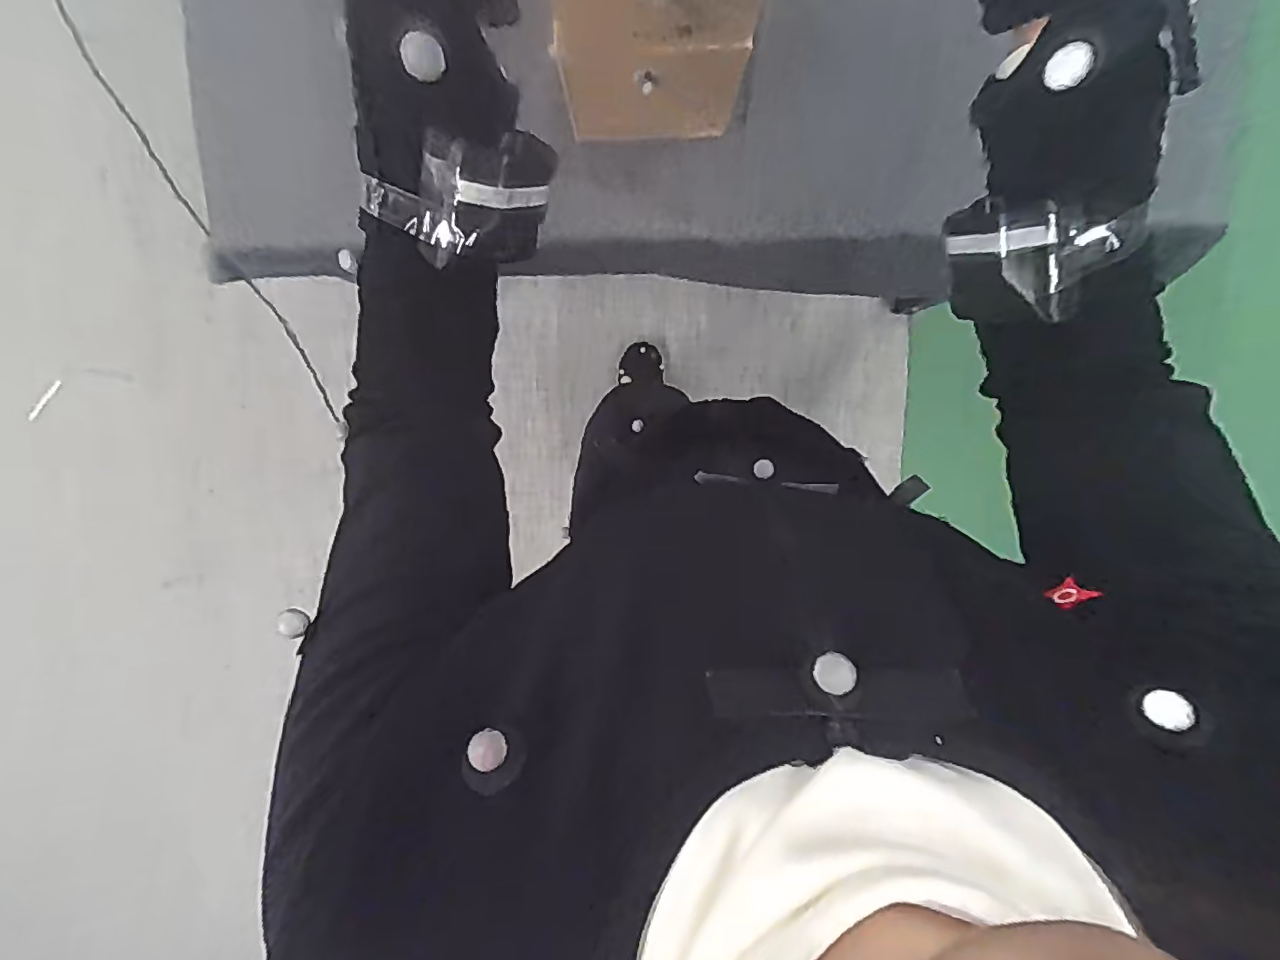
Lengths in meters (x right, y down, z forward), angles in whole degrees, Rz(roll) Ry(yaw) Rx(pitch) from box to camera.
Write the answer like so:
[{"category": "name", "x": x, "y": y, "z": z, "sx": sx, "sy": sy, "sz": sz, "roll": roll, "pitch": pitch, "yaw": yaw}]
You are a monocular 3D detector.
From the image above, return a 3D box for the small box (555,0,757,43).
[{"category": "small box", "x": 0.009, "y": -0.446, "z": 0.378, "sx": 0.168, "sy": 0.176, "sz": 0.179, "roll": -4, "pitch": 100, "yaw": 1}]

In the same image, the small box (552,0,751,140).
[{"category": "small box", "x": 0.009, "y": -0.465, "z": 0.540, "sx": 0.179, "sy": 0.176, "sz": 0.168, "roll": -2, "pitch": 99, "yaw": -1}]
